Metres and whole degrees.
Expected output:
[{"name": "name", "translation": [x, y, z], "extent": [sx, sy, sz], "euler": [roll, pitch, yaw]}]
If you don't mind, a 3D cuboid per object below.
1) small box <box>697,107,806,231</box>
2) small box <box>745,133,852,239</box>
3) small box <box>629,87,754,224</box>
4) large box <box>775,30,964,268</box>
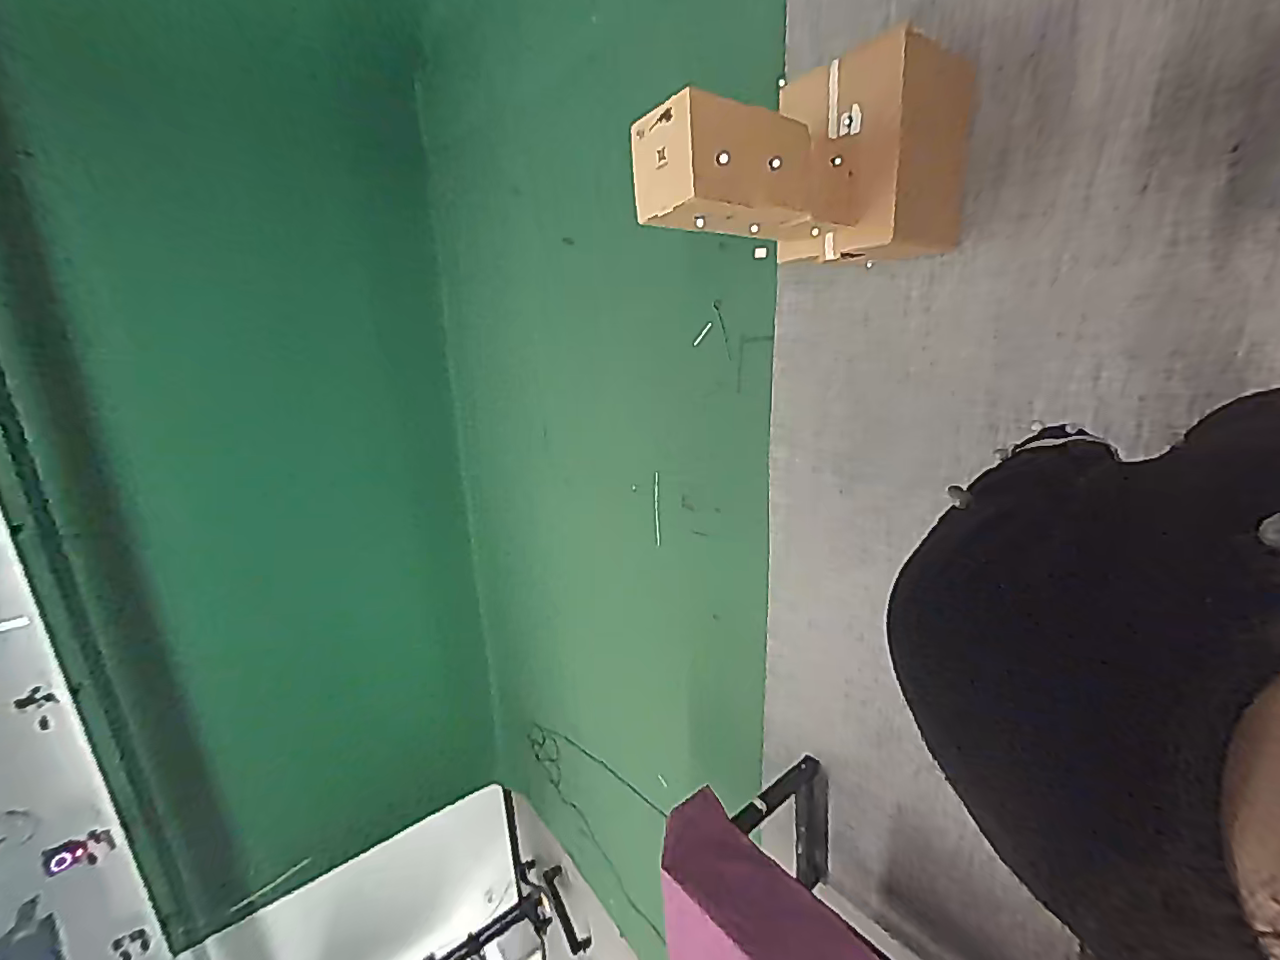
[{"name": "small box", "translation": [0.228, -0.625, 1.117], "extent": [0.168, 0.176, 0.179], "euler": [8, 106, 51]}, {"name": "small box", "translation": [0.356, -0.650, 1.216], "extent": [0.179, 0.176, 0.168], "euler": [14, 112, 51]}, {"name": "small box", "translation": [0.100, -0.593, 1.018], "extent": [0.168, 0.176, 0.179], "euler": [11, 110, 51]}, {"name": "large box", "translation": [0.554, -0.761, 1.329], "extent": [0.320, 0.320, 0.408], "euler": [15, 112, 50]}]
